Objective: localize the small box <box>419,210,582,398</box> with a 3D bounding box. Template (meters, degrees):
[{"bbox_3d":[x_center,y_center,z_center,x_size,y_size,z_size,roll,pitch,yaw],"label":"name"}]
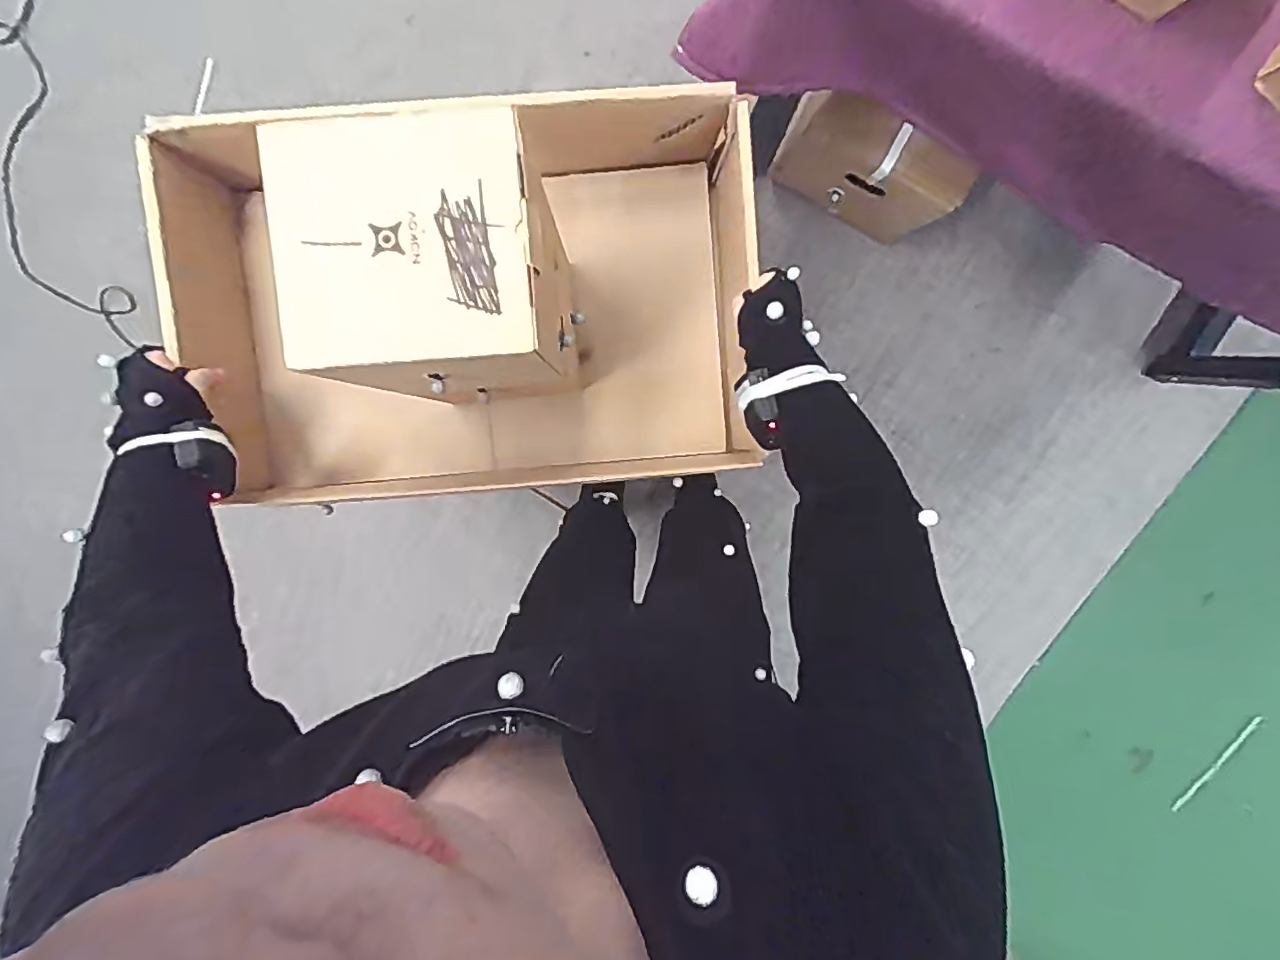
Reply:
[{"bbox_3d":[-0.166,-0.186,0.618,0.179,0.176,0.168,-4,95,-1],"label":"small box"}]

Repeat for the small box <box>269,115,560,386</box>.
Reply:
[{"bbox_3d":[-0.164,-0.172,0.455,0.179,0.176,0.168,-3,94,0],"label":"small box"}]
